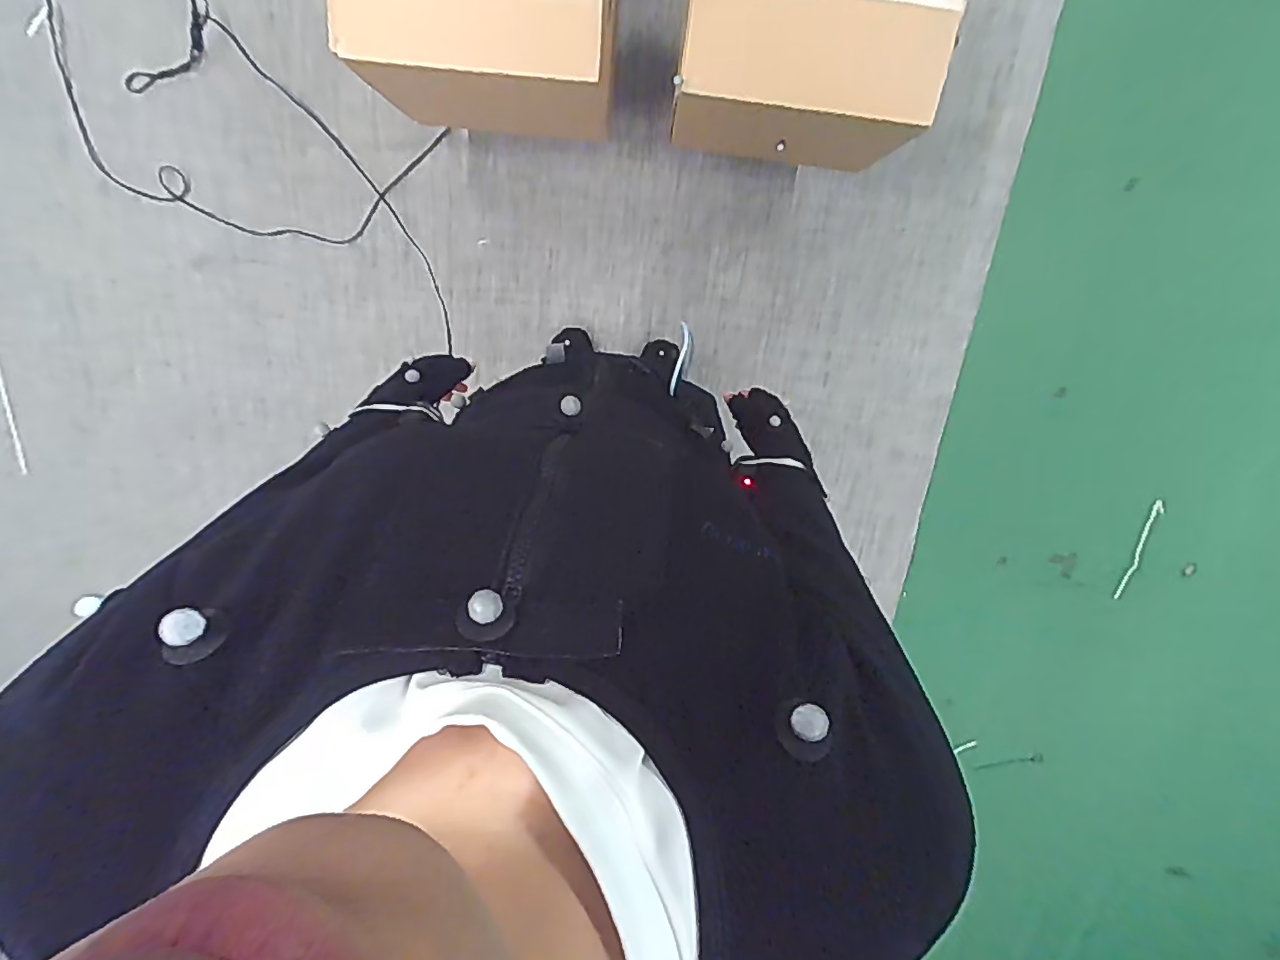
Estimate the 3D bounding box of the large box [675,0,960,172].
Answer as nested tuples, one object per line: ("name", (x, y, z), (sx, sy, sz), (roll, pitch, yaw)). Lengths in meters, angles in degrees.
("large box", (0.286, -0.768, 0.957), (0.408, 0.320, 0.320), (7, 107, -2))
